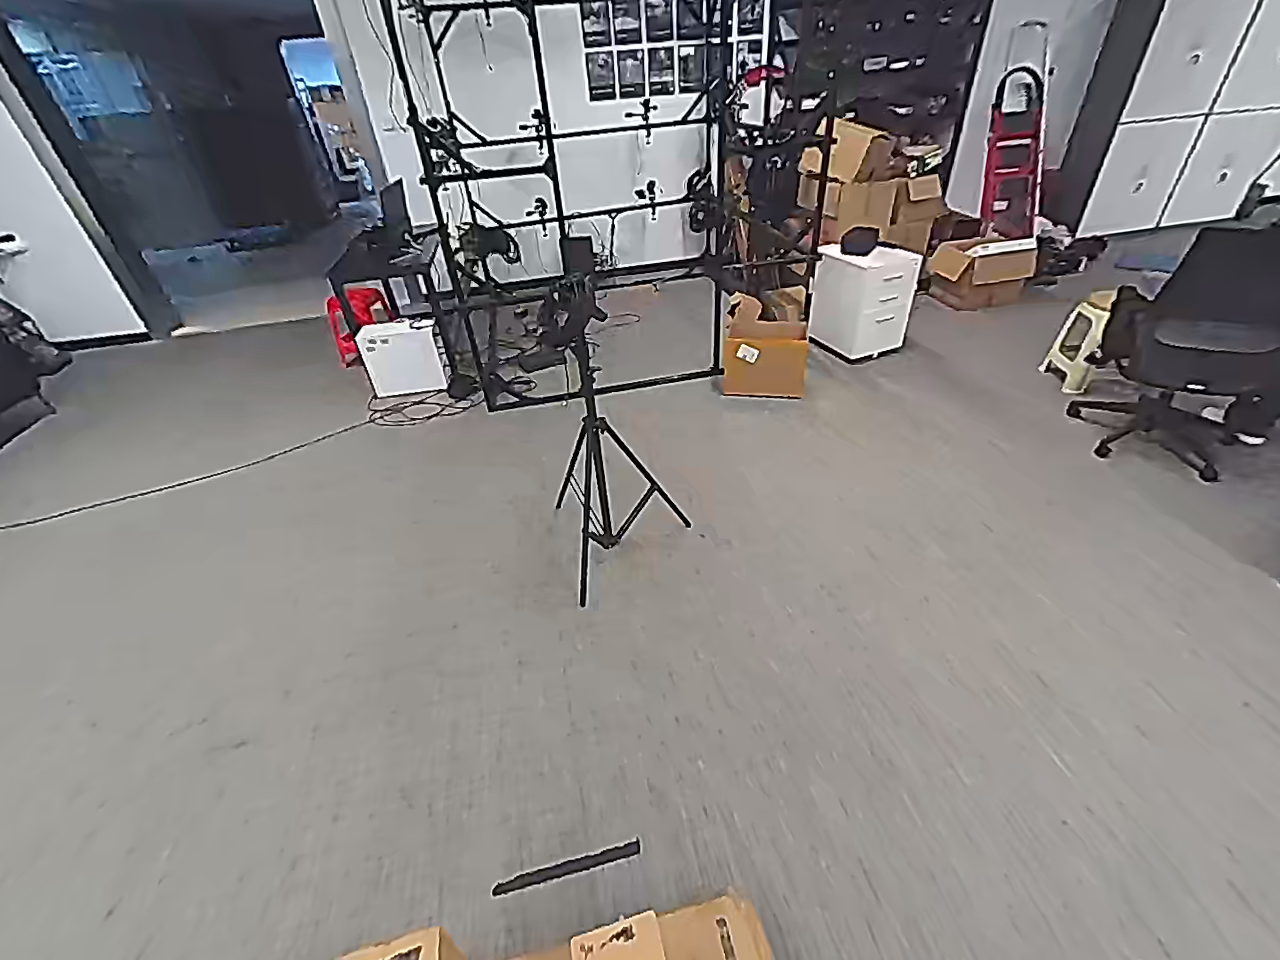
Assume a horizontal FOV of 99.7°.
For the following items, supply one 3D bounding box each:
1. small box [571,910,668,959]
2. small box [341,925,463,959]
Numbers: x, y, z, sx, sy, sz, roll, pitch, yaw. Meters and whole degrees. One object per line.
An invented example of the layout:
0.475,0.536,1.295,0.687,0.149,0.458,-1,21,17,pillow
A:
-0.022,0.944,0.995,0.168,0.176,0.179,-13,37,-8,small box
-0.379,0.865,0.861,0.168,0.176,0.179,-11,36,-10,small box
